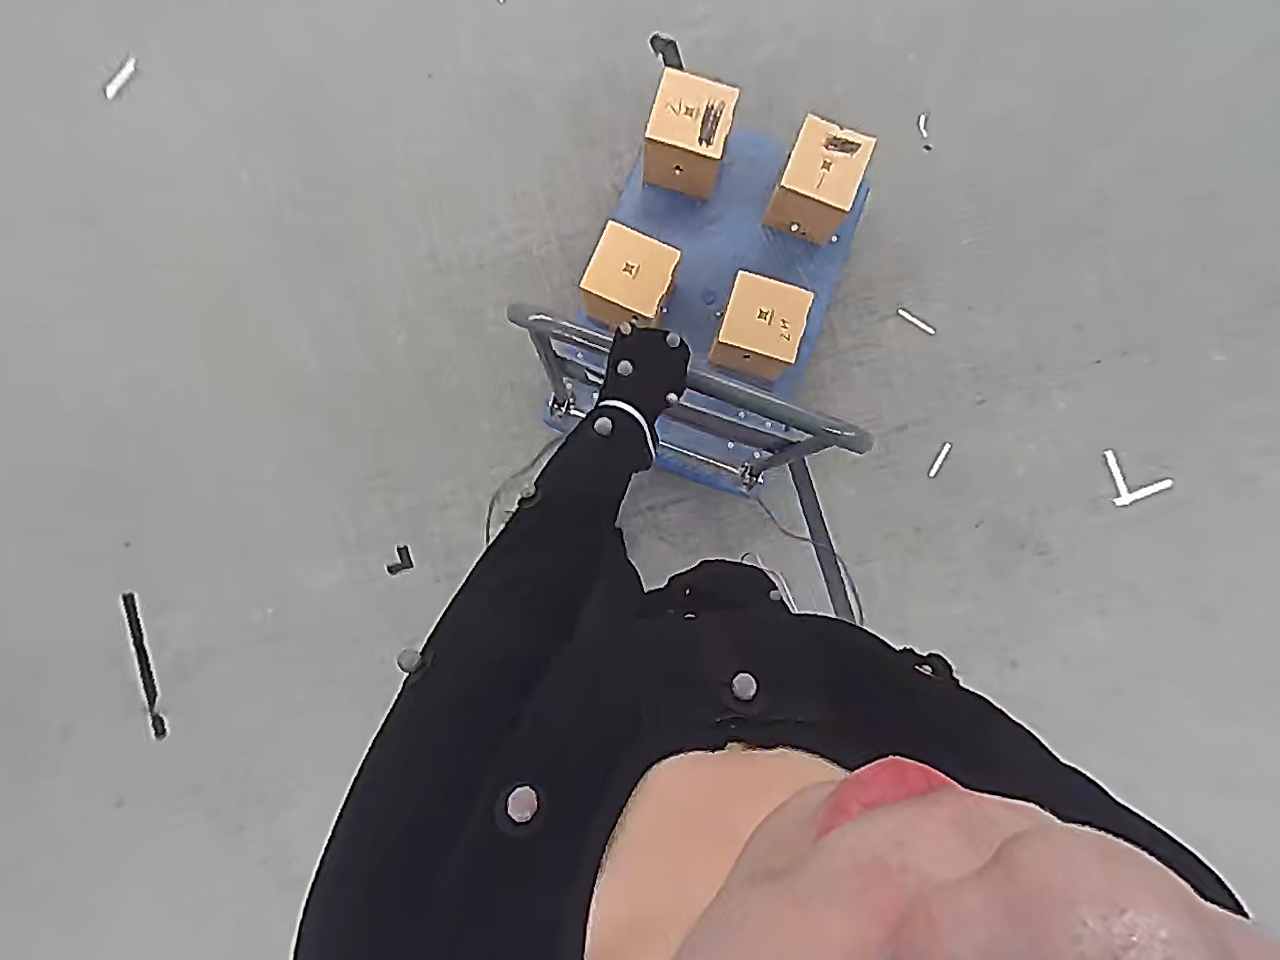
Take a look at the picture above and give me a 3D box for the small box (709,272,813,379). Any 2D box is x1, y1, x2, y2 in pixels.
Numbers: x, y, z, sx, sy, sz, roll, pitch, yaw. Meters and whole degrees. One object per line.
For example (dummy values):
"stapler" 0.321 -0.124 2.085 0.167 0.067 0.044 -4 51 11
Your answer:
"small box" 0.270 -0.348 1.251 0.179 0.176 0.168 17 87 0

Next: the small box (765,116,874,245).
"small box" 0.411 -0.692 1.268 0.168 0.176 0.179 21 89 0

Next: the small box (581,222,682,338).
"small box" -0.023 -0.450 1.249 0.179 0.176 0.168 23 87 -2
